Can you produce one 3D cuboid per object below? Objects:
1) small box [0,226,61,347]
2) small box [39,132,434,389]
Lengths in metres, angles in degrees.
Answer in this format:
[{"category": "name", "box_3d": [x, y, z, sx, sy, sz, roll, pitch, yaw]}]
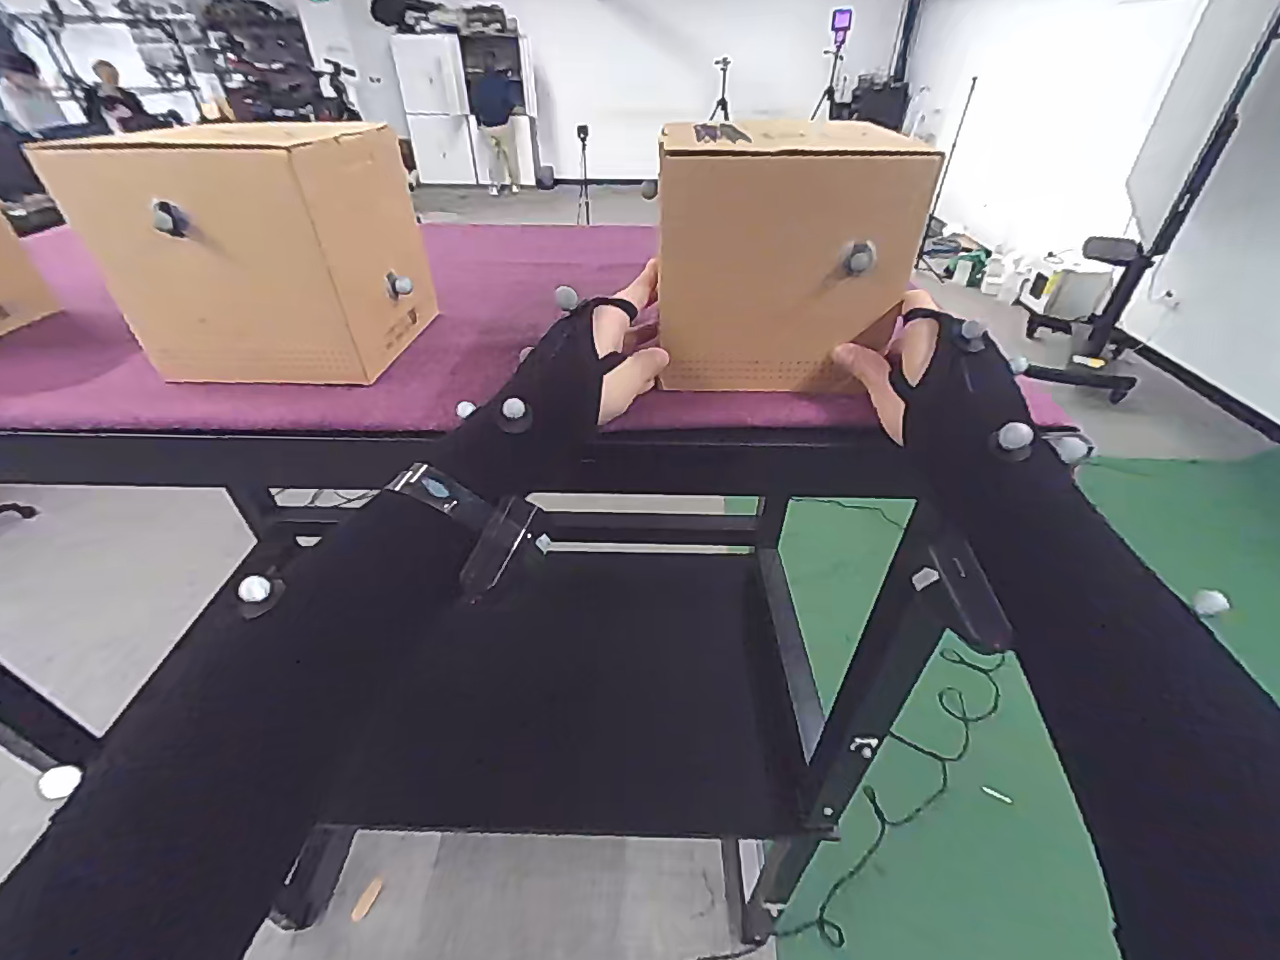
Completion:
[{"category": "small box", "box_3d": [-0.696, -0.188, 0.471, 0.179, 0.176, 0.168, -1, 38, 1]}, {"category": "small box", "box_3d": [-0.304, -0.187, 0.460, 0.179, 0.176, 0.168, 1, 38, 3]}]
